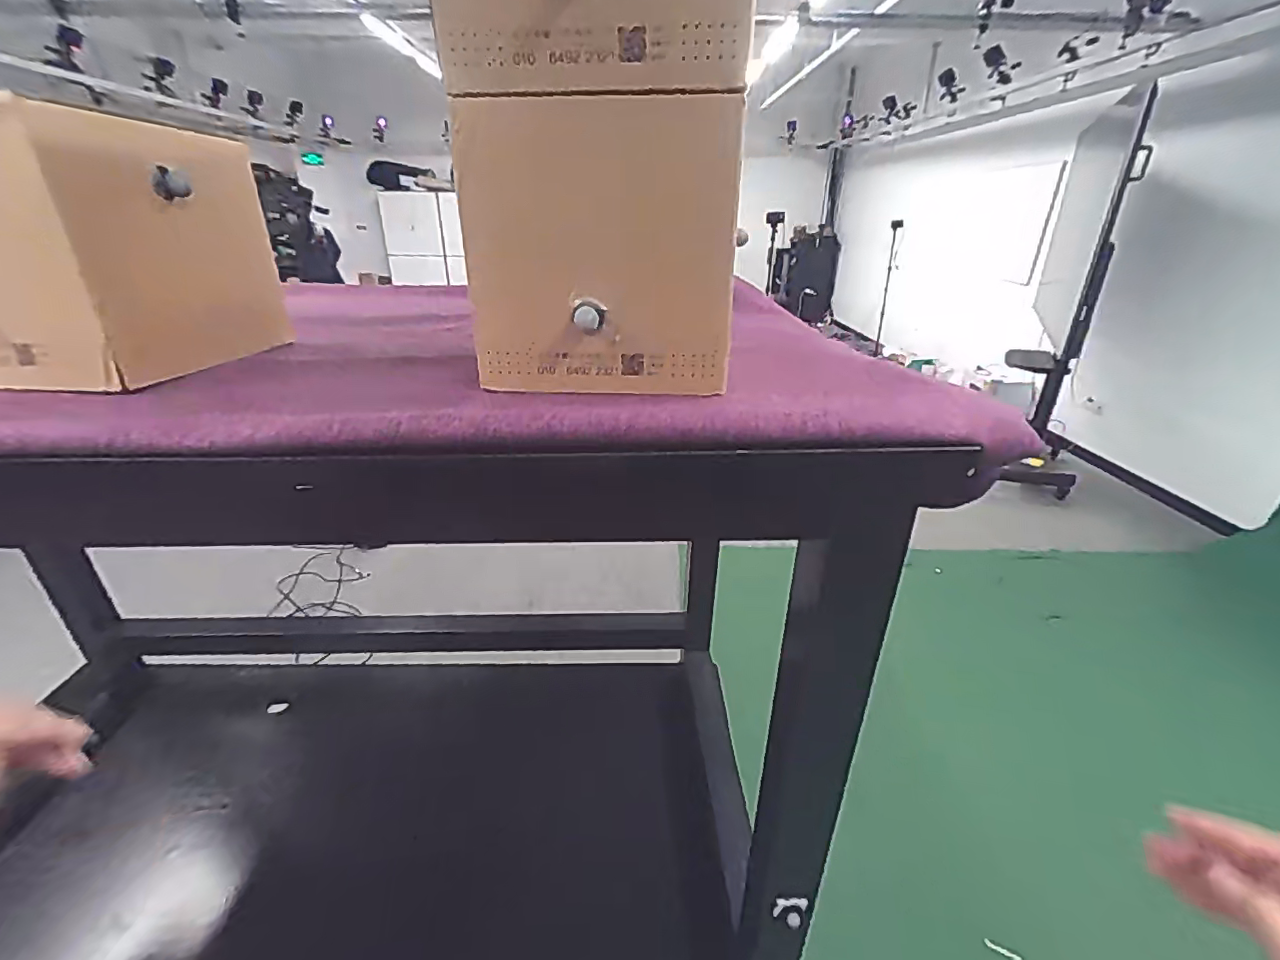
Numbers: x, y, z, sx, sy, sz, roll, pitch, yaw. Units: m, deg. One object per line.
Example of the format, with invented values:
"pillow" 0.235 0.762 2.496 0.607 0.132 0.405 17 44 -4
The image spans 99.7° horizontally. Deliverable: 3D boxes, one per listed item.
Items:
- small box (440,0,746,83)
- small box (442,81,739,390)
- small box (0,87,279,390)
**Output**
"small box" -0.022 -0.321 0.325 0.168 0.176 0.179 1 26 4
"small box" -0.022 -0.173 0.397 0.168 0.176 0.179 1 27 4
"small box" -0.408 -0.173 0.402 0.168 0.176 0.179 2 26 3
